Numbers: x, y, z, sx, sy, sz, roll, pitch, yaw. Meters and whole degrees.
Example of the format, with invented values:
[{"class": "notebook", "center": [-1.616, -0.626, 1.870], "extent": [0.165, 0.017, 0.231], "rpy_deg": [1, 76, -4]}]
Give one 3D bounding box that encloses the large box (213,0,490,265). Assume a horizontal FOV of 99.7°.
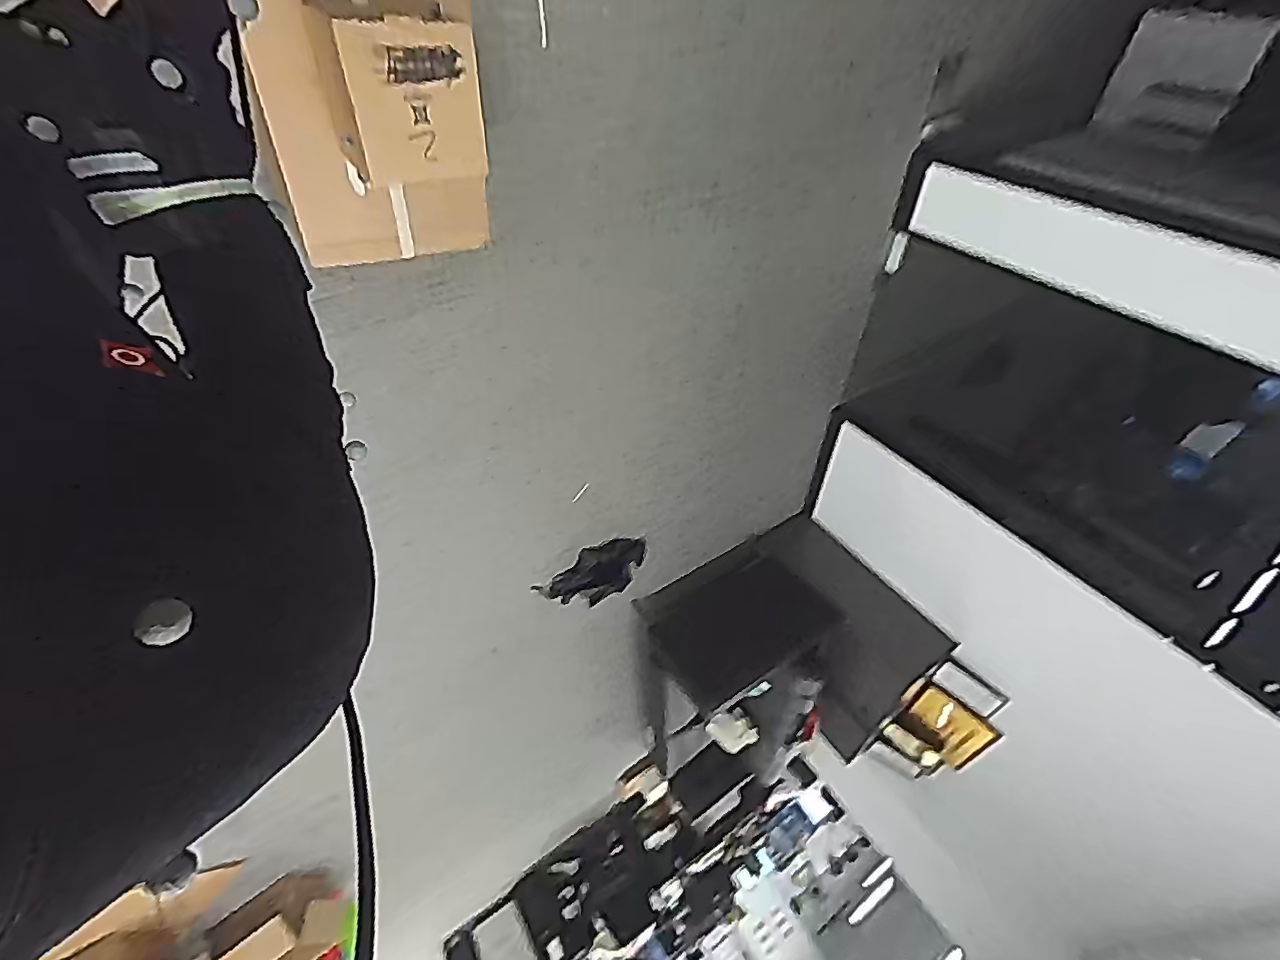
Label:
[{"class": "large box", "center": [-0.475, -0.638, 0.911], "extent": [0.320, 0.320, 0.408], "rpy_deg": [-20, 140, -27]}]
